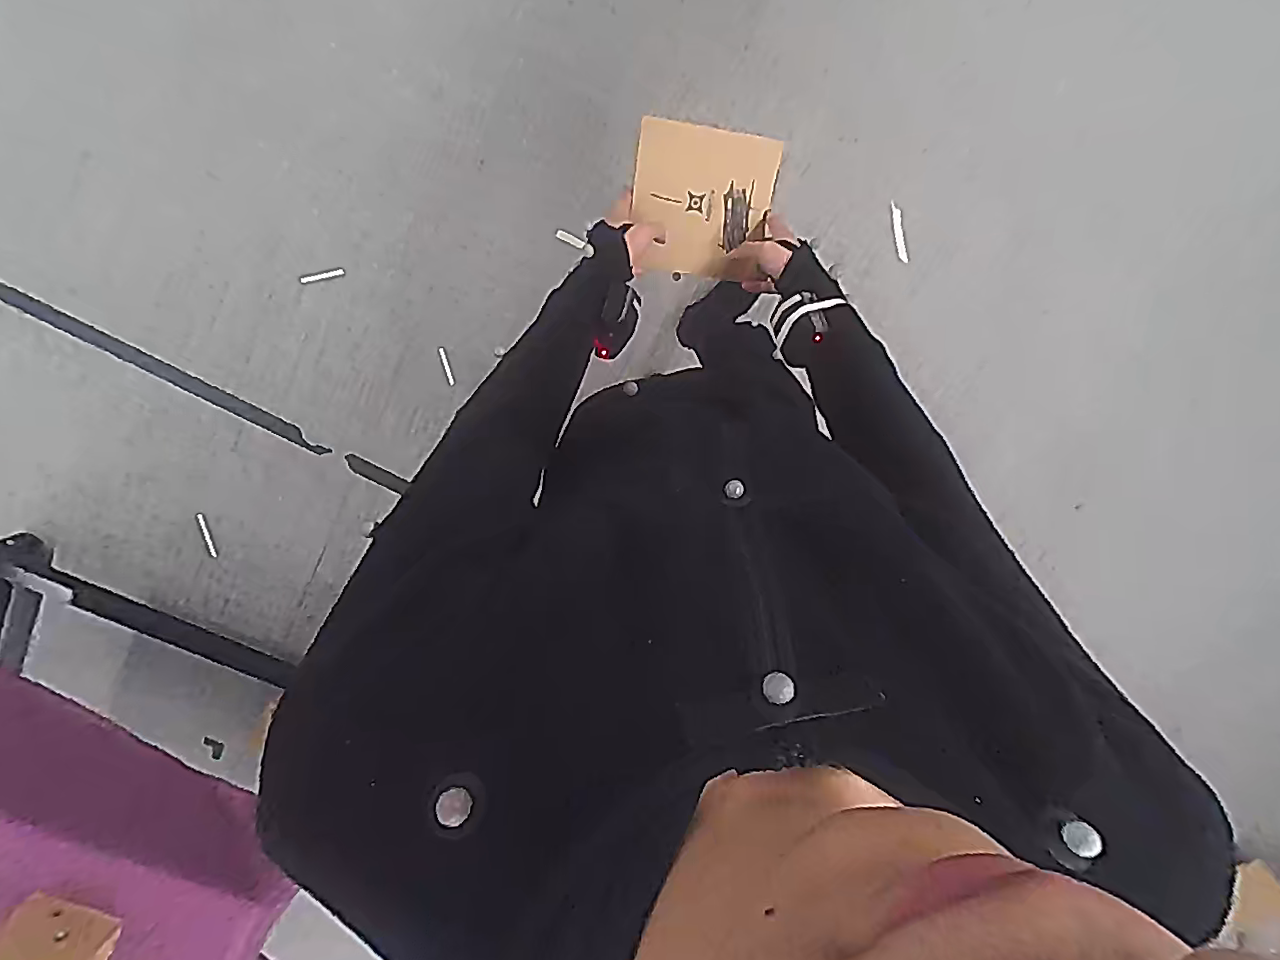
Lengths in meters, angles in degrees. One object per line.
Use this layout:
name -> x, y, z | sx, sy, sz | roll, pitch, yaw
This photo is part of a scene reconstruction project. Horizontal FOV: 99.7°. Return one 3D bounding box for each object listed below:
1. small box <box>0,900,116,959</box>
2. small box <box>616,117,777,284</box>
small box -> -1.113, 0.920, 0.974 | 0.168, 0.176, 0.179 | 26, 100, -8
small box -> 0.063, -0.373, 0.739 | 0.179, 0.176, 0.168 | 6, 115, -6
